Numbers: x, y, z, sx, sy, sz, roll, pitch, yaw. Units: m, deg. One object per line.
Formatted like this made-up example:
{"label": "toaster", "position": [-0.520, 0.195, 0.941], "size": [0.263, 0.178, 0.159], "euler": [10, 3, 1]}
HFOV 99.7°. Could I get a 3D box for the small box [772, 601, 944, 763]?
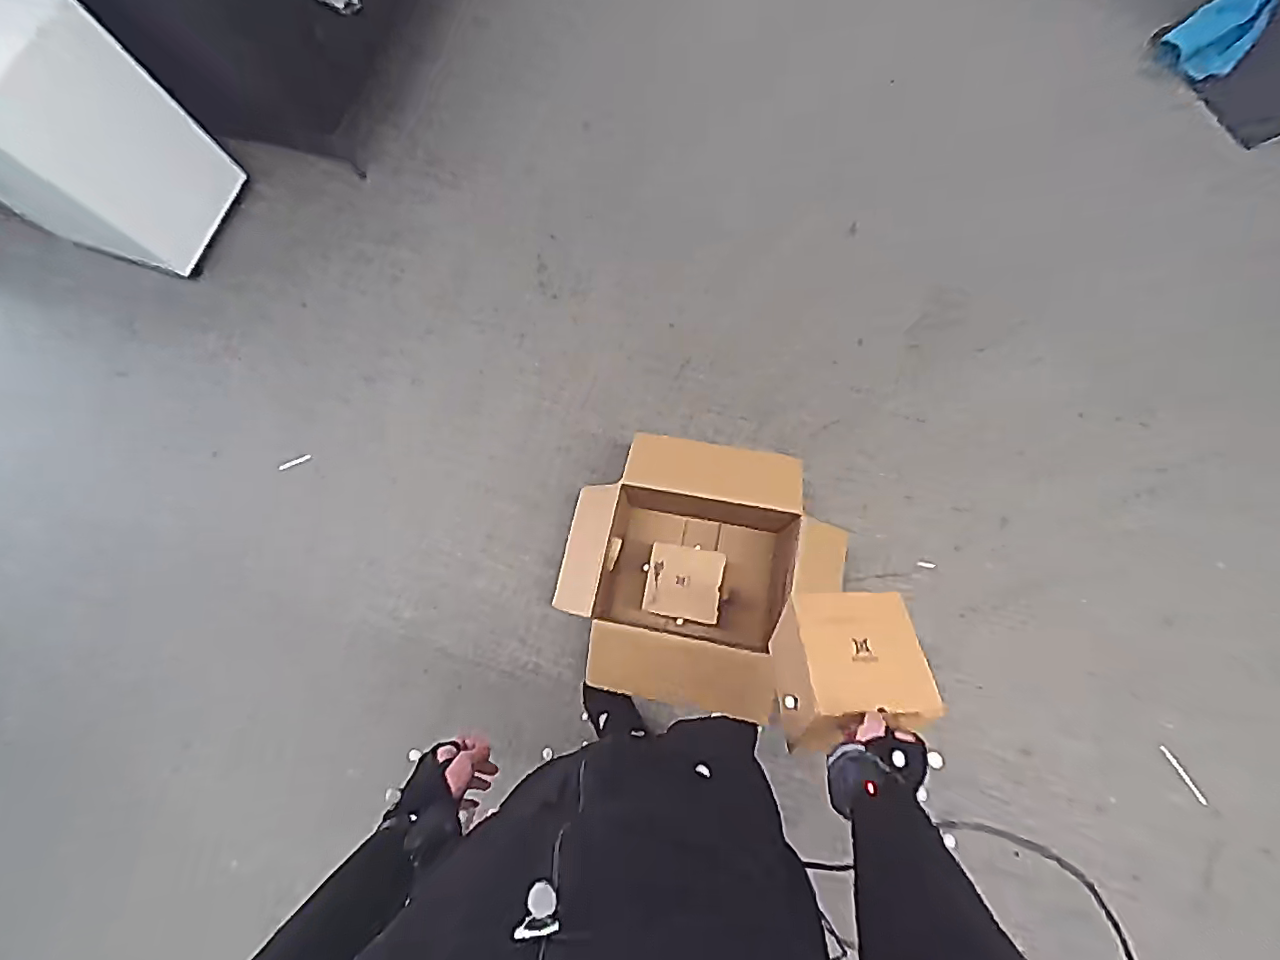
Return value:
{"label": "small box", "position": [0.301, 0.298, 0.791], "size": [0.168, 0.176, 0.179], "euler": [2, 45, -2]}
